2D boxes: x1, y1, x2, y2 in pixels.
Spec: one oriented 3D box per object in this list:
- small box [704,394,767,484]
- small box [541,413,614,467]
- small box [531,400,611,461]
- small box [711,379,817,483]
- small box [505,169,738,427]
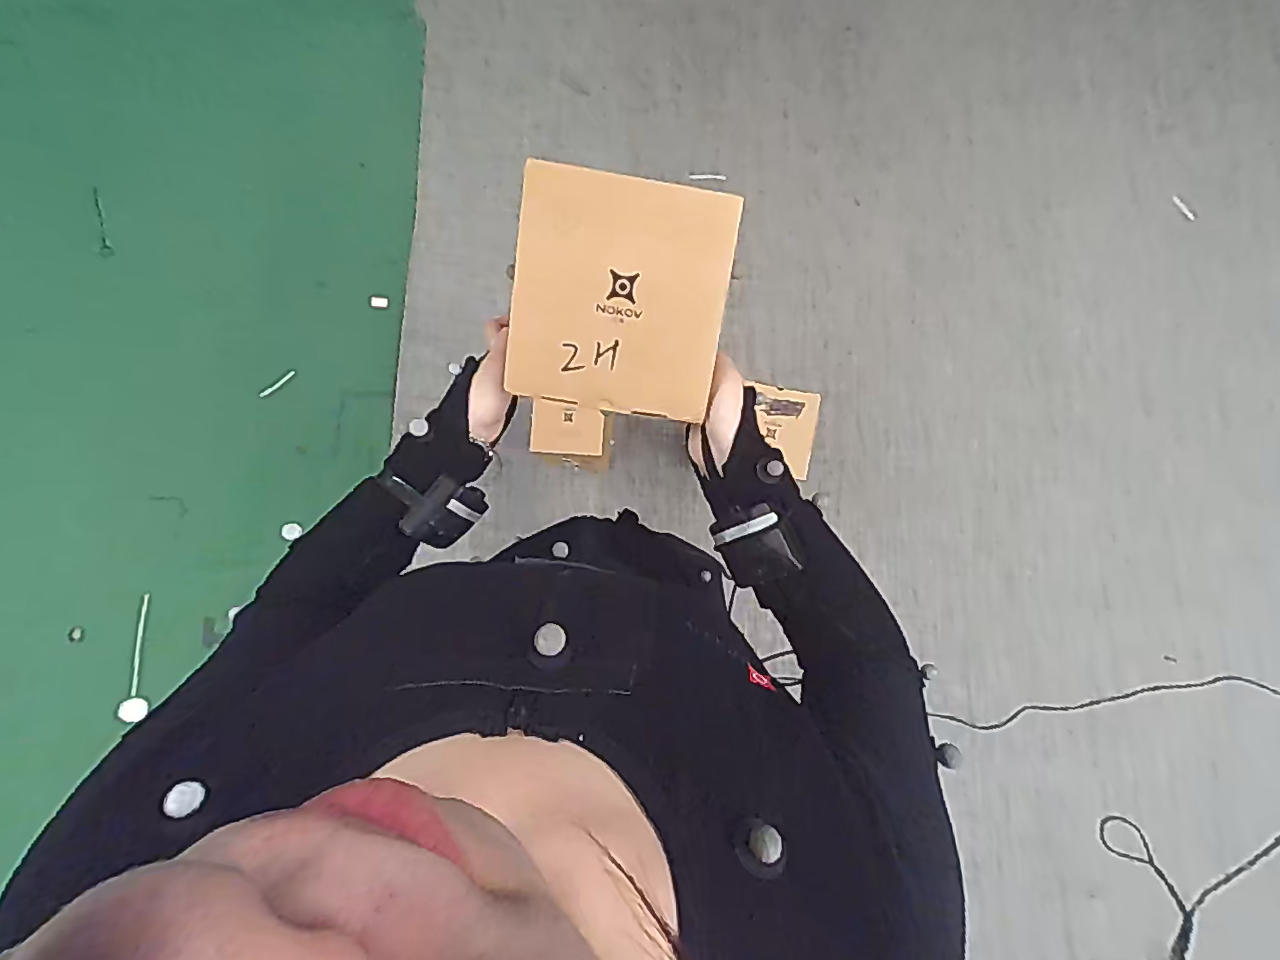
[{"bbox_3d":[0.255,-0.092,1.306,0.168,0.176,0.179,10,86,1],"label":"small box"},{"bbox_3d":[-0.164,-0.134,1.473,0.168,0.176,0.179,7,86,0],"label":"small box"},{"bbox_3d":[-0.161,-0.145,1.310,0.168,0.176,0.179,3,86,2],"label":"small box"},{"bbox_3d":[0.253,-0.096,1.142,0.168,0.176,0.179,12,87,1],"label":"small box"},{"bbox_3d":[-0.020,-0.157,0.509,0.168,0.176,0.179,9,102,-3],"label":"small box"}]
